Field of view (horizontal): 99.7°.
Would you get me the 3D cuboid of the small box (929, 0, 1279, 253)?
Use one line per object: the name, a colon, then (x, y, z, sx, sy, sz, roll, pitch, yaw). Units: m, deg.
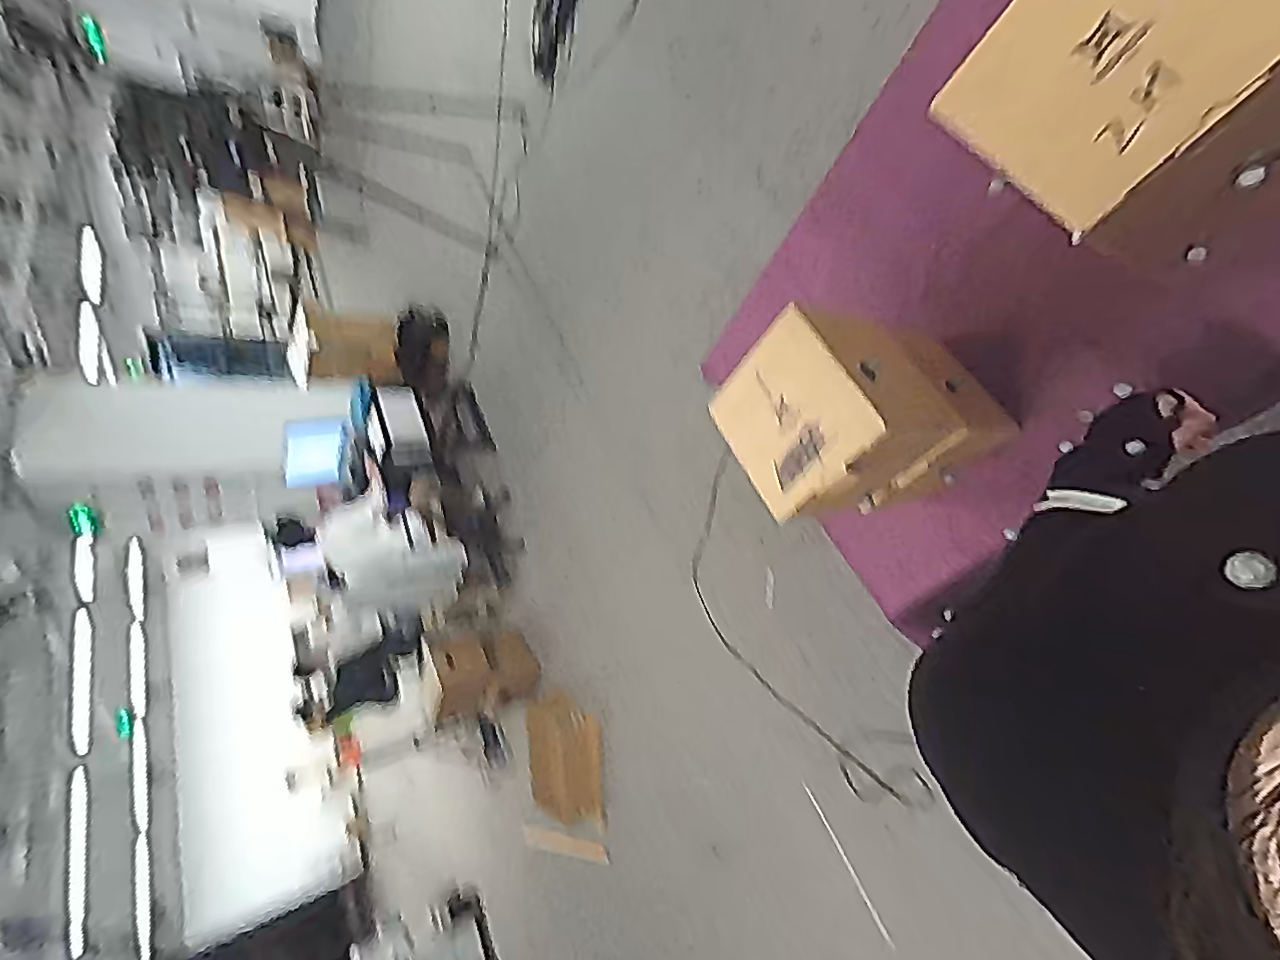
small box: (0.376, -0.302, 0.417, 0.168, 0.176, 0.179, -51, 57, 43)

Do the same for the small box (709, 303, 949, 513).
small box: (0.222, -0.084, 0.644, 0.168, 0.176, 0.179, -52, 55, 42)

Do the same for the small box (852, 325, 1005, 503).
small box: (0.352, -0.092, 0.744, 0.168, 0.176, 0.179, -52, 57, 41)
